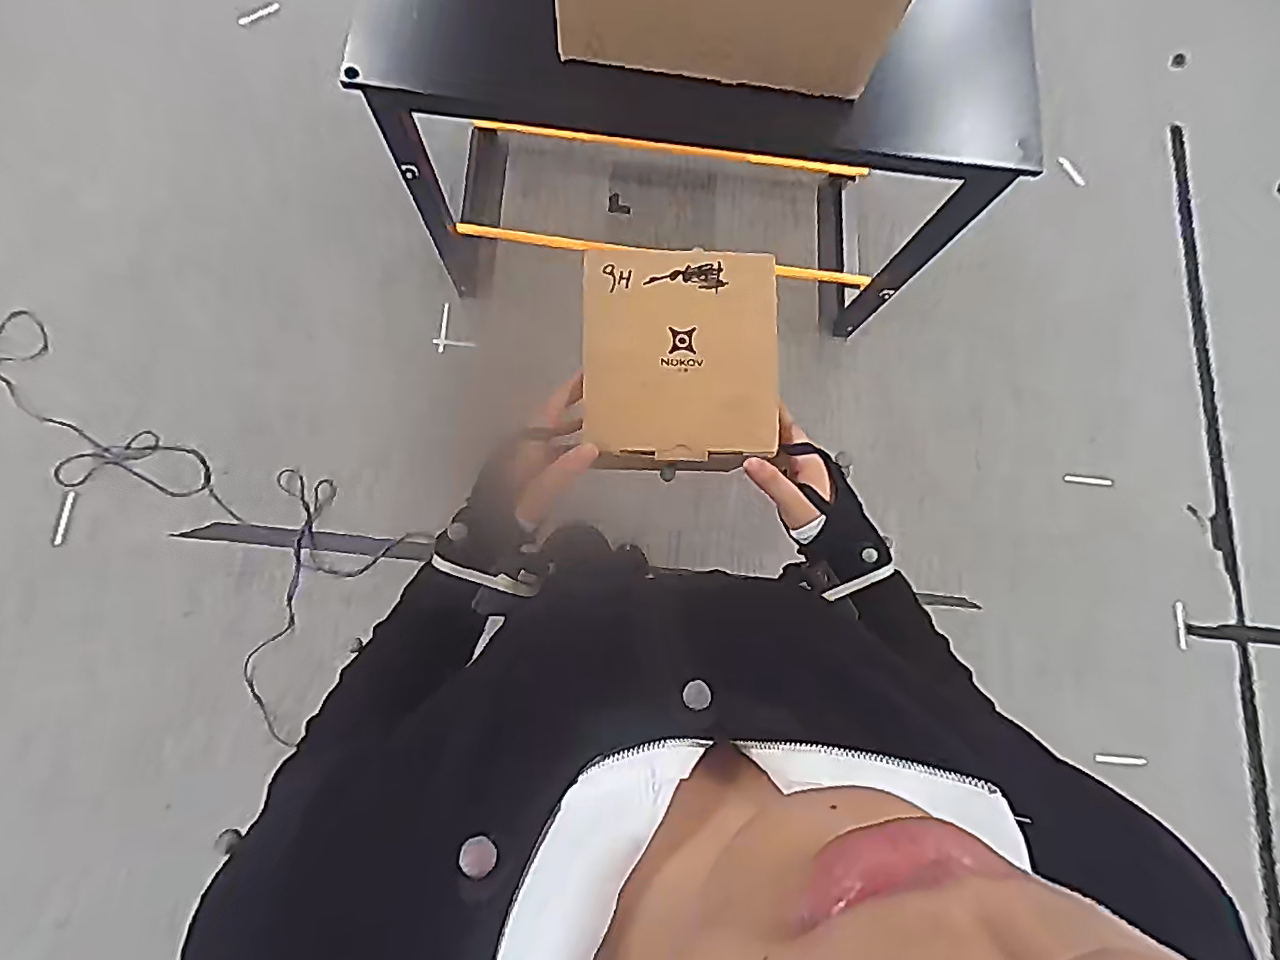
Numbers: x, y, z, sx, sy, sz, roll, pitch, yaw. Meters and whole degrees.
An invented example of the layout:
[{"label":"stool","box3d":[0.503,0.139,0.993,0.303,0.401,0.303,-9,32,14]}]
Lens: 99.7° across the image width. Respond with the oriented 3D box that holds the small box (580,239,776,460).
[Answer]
[{"label":"small box","box3d":[0.029,-0.111,0.532,0.168,0.176,0.179,0,88,-4]}]
